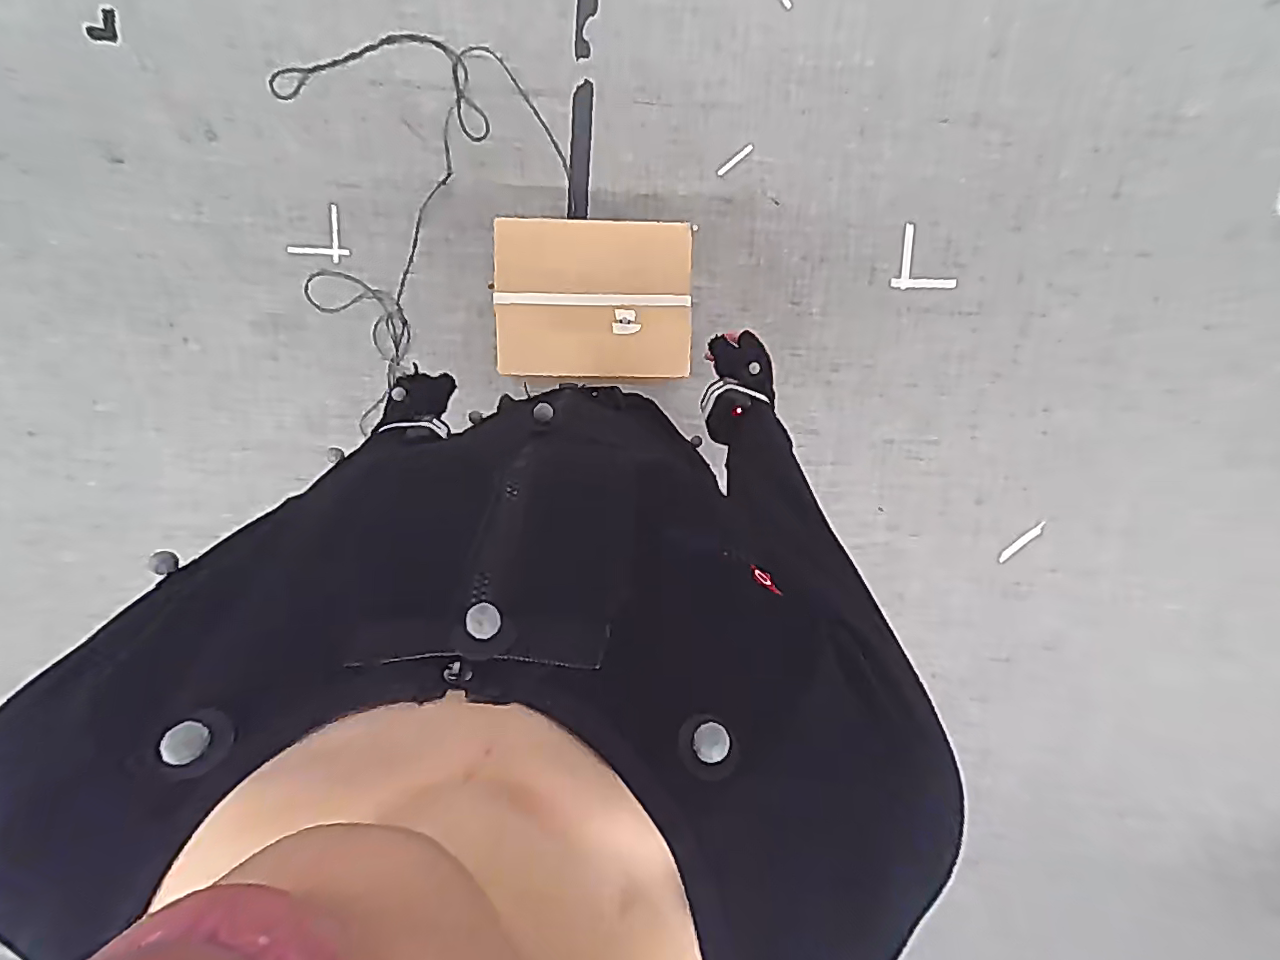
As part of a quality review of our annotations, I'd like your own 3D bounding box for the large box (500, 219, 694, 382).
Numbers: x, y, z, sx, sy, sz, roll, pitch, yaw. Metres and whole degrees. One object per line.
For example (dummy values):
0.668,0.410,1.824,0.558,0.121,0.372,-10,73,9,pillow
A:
-0.095,-0.399,1.274,0.408,0.320,0.320,0,98,-3,large box
